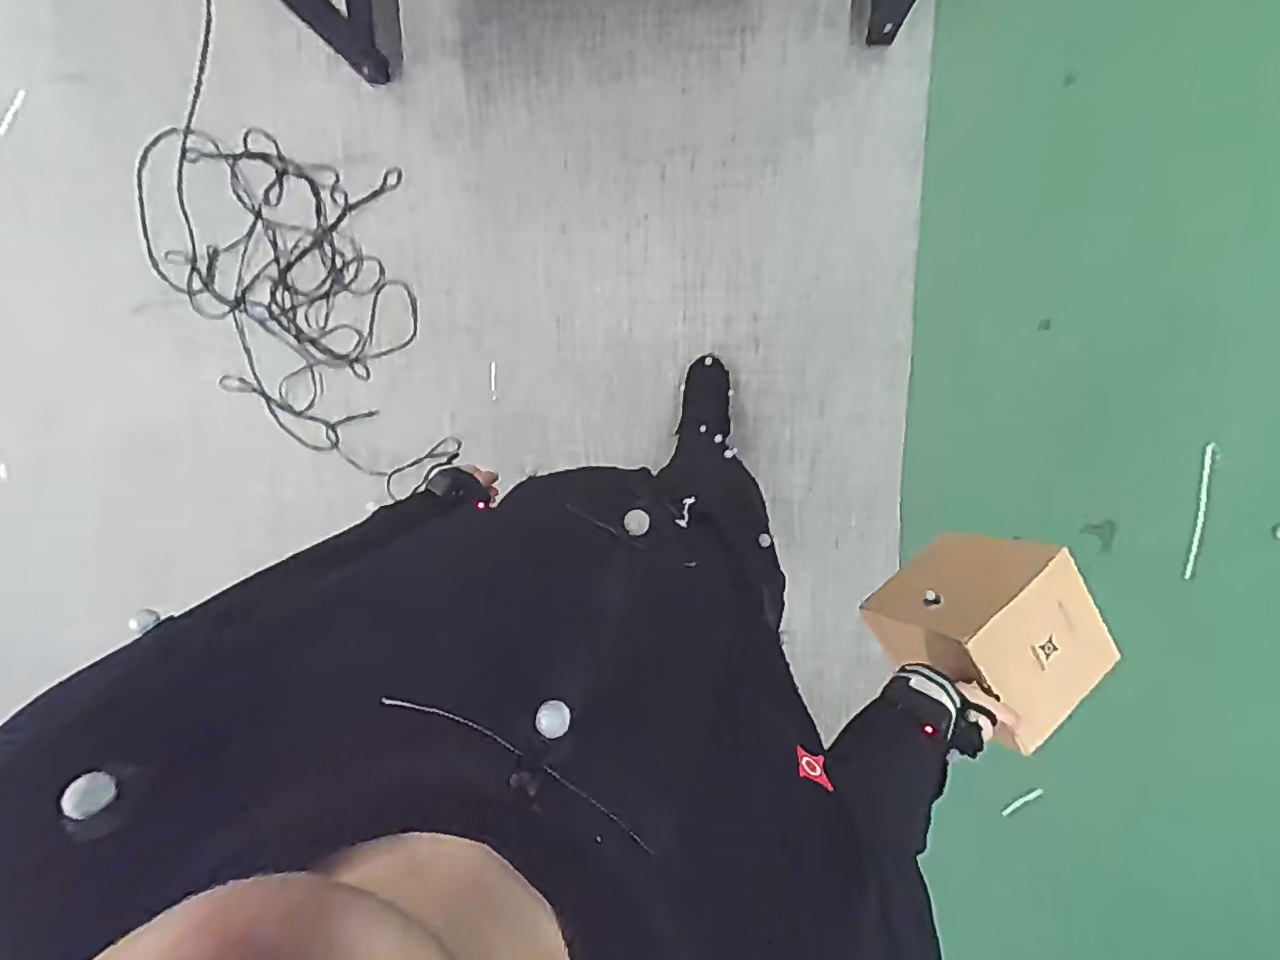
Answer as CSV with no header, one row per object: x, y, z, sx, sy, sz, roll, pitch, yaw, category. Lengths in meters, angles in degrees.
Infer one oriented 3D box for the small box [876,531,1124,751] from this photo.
0.425,0.180,0.667,0.179,0.176,0.168,-37,101,-14,small box
